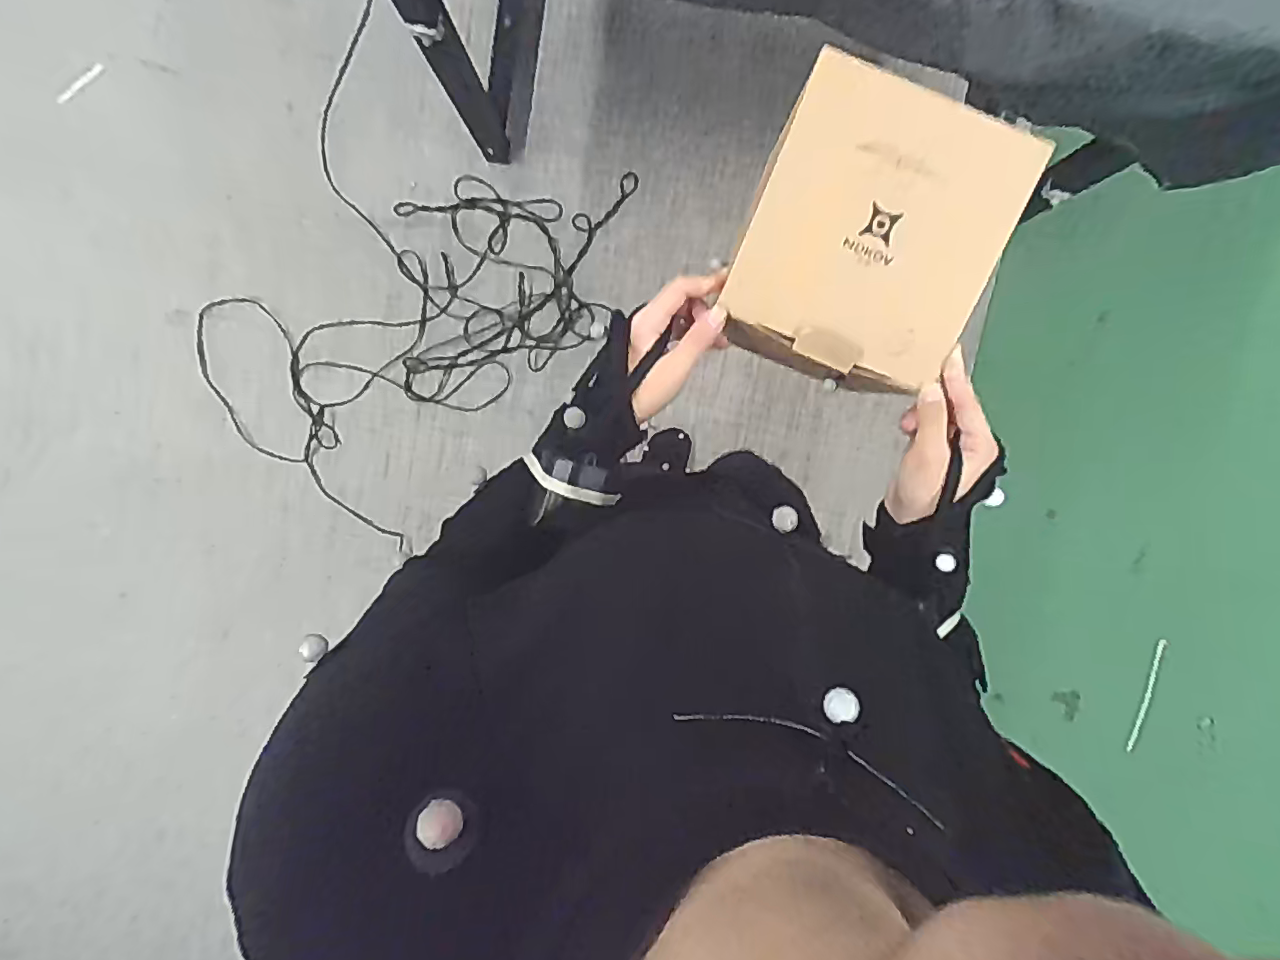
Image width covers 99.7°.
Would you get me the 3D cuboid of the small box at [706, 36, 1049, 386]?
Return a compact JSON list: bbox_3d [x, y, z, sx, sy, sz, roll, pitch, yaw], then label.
[{"bbox_3d":[0.160,-0.188,0.437,0.168,0.176,0.179,21,101,-2],"label":"small box"}]
